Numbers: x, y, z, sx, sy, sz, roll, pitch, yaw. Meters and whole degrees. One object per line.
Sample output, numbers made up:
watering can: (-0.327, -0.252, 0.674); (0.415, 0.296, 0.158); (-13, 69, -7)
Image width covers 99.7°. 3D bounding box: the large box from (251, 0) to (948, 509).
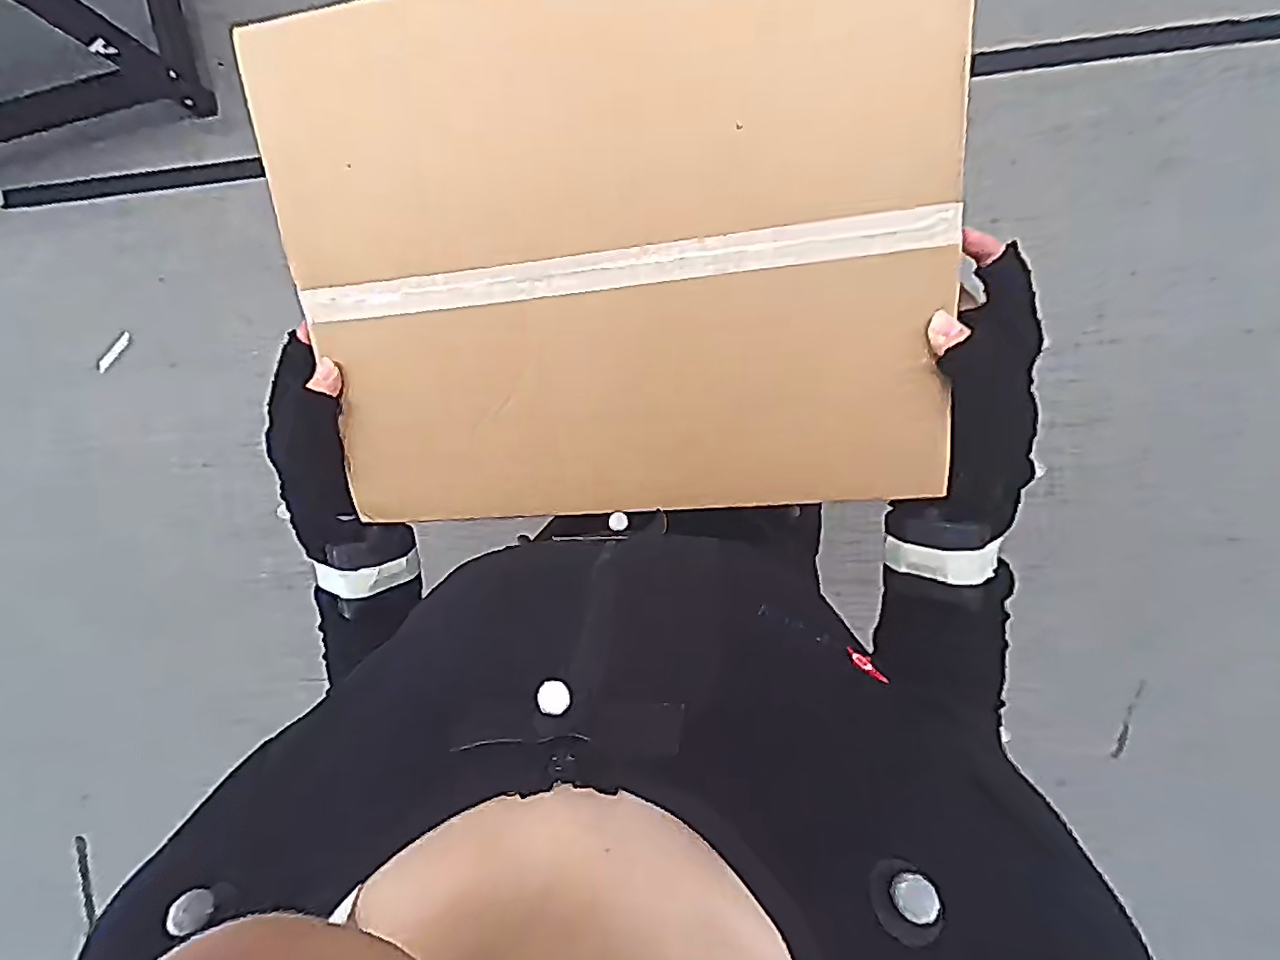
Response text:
large box: (-0.003, -0.182, 0.475); (0.408, 0.320, 0.320); (-3, 106, 10)
